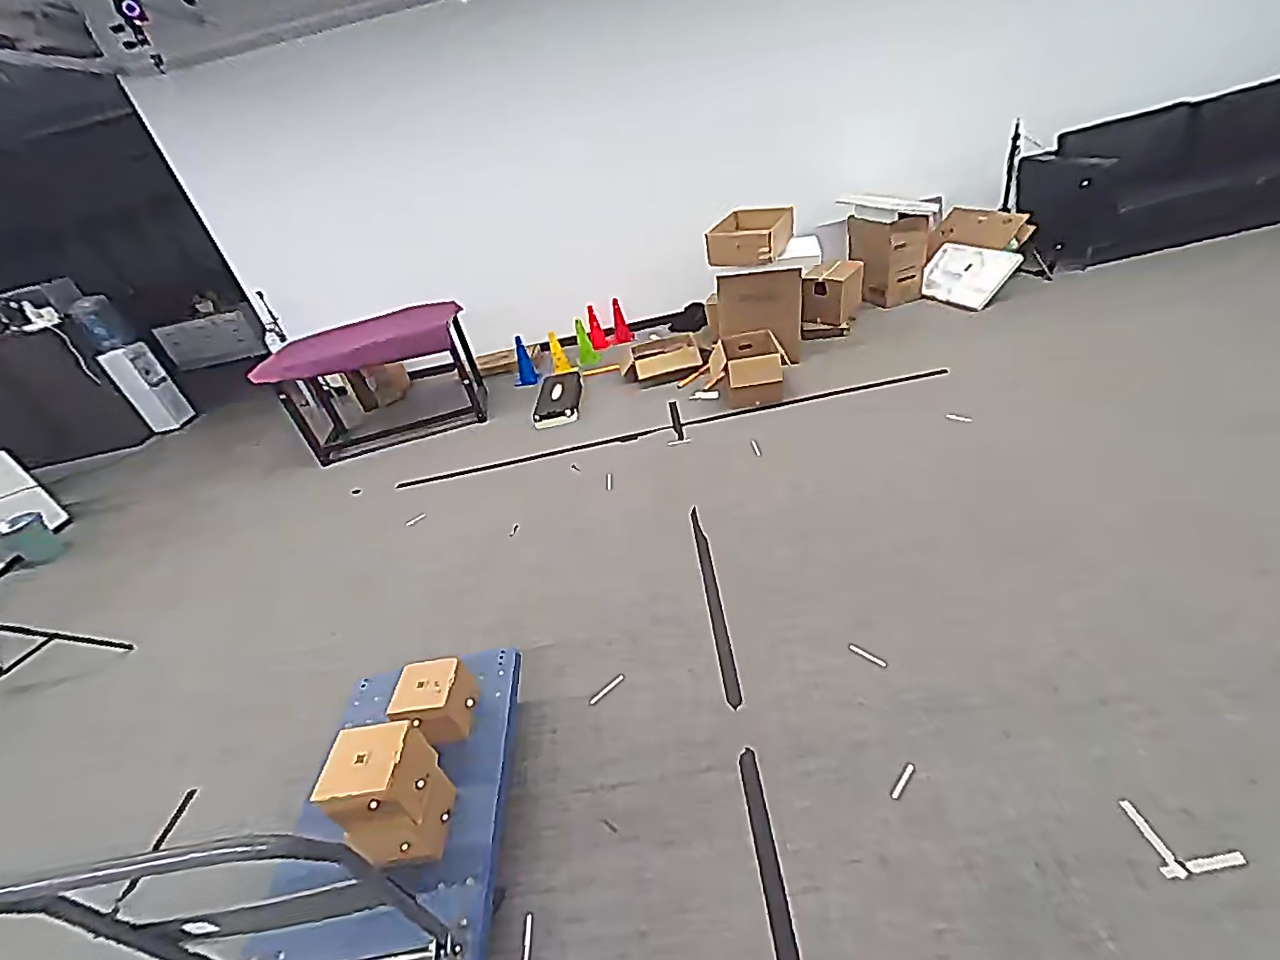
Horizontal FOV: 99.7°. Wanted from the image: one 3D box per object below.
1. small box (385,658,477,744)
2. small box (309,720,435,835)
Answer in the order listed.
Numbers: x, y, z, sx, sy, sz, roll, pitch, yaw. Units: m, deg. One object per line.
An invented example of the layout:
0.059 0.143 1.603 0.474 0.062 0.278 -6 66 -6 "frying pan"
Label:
-0.606 0.652 1.589 0.179 0.176 0.168 -10 34 5 "small box"
-0.604 0.685 1.243 0.179 0.176 0.168 -10 33 3 "small box"
